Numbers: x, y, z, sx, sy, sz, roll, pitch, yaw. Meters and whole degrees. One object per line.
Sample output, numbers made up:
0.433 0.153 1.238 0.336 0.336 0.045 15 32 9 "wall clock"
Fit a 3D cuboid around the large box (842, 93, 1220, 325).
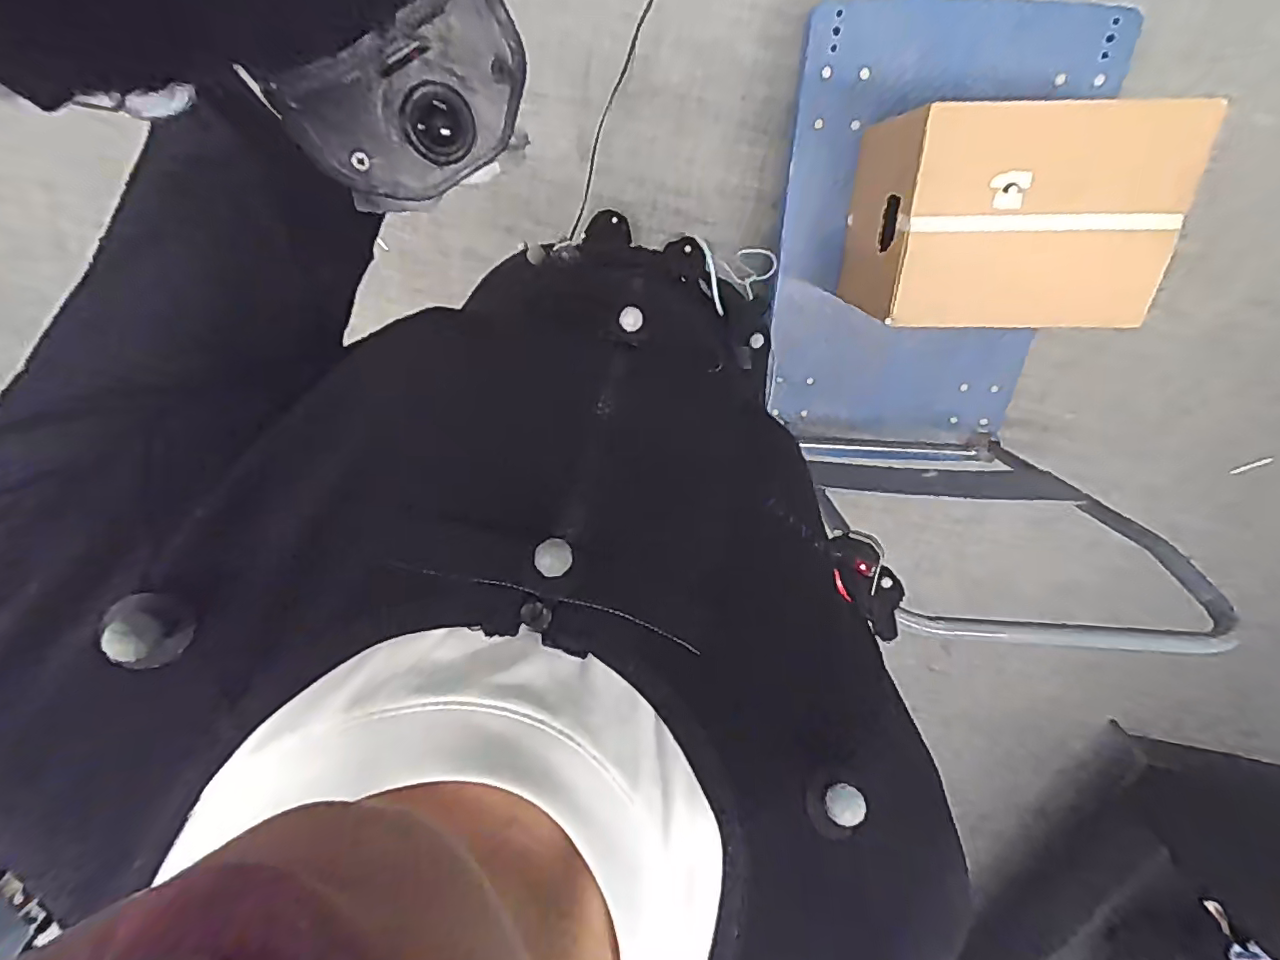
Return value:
0.622 -0.465 0.960 0.408 0.320 0.320 1 116 4 "large box"
